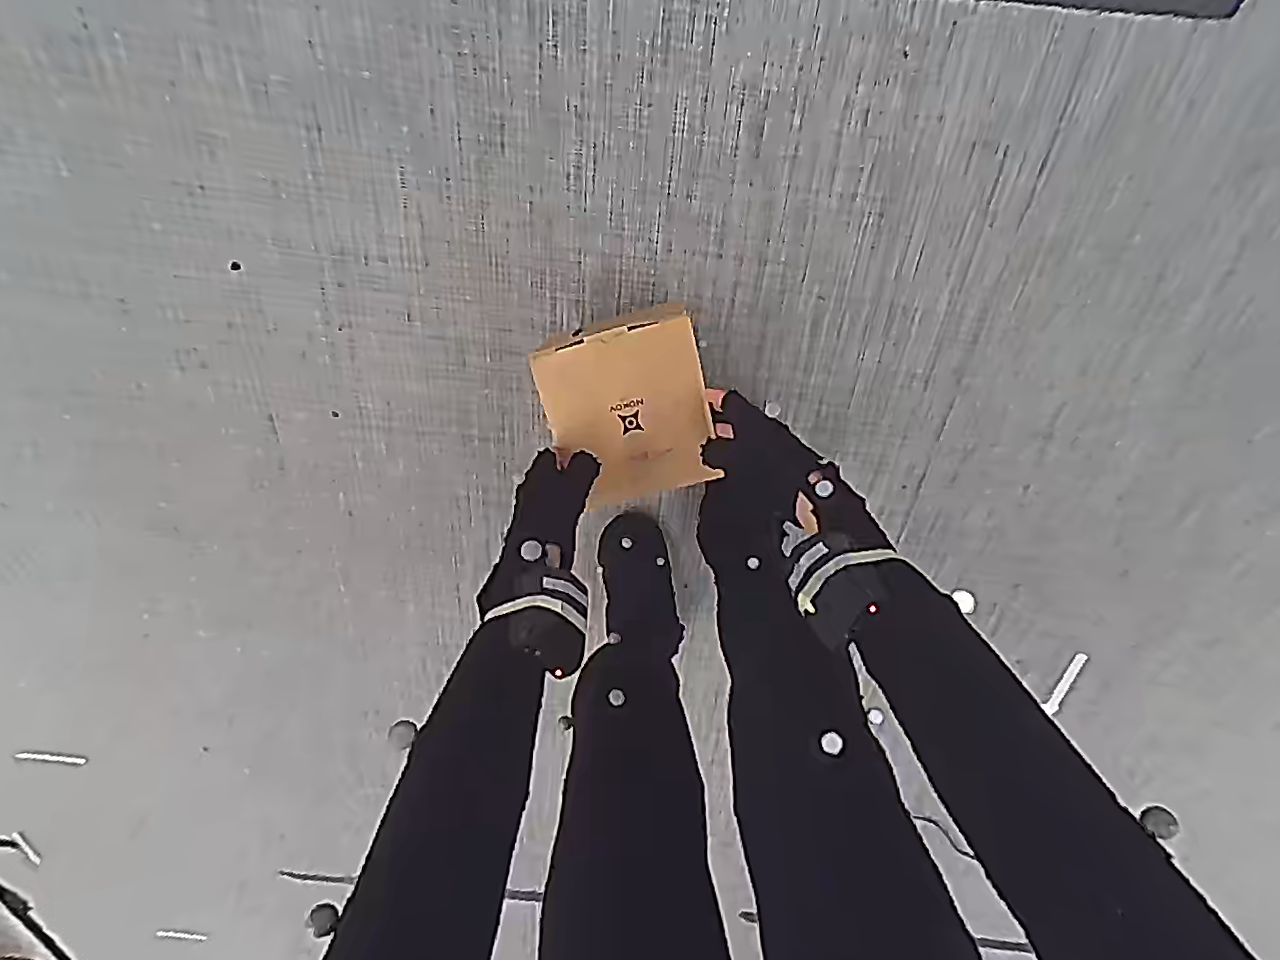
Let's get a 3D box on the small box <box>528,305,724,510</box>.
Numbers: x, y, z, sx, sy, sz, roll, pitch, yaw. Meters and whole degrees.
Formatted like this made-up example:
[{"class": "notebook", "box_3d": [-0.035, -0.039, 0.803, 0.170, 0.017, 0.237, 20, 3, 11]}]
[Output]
[{"class": "small box", "box_3d": [-0.010, -0.093, 0.620, 0.168, 0.176, 0.179, -14, 112, 8]}]
